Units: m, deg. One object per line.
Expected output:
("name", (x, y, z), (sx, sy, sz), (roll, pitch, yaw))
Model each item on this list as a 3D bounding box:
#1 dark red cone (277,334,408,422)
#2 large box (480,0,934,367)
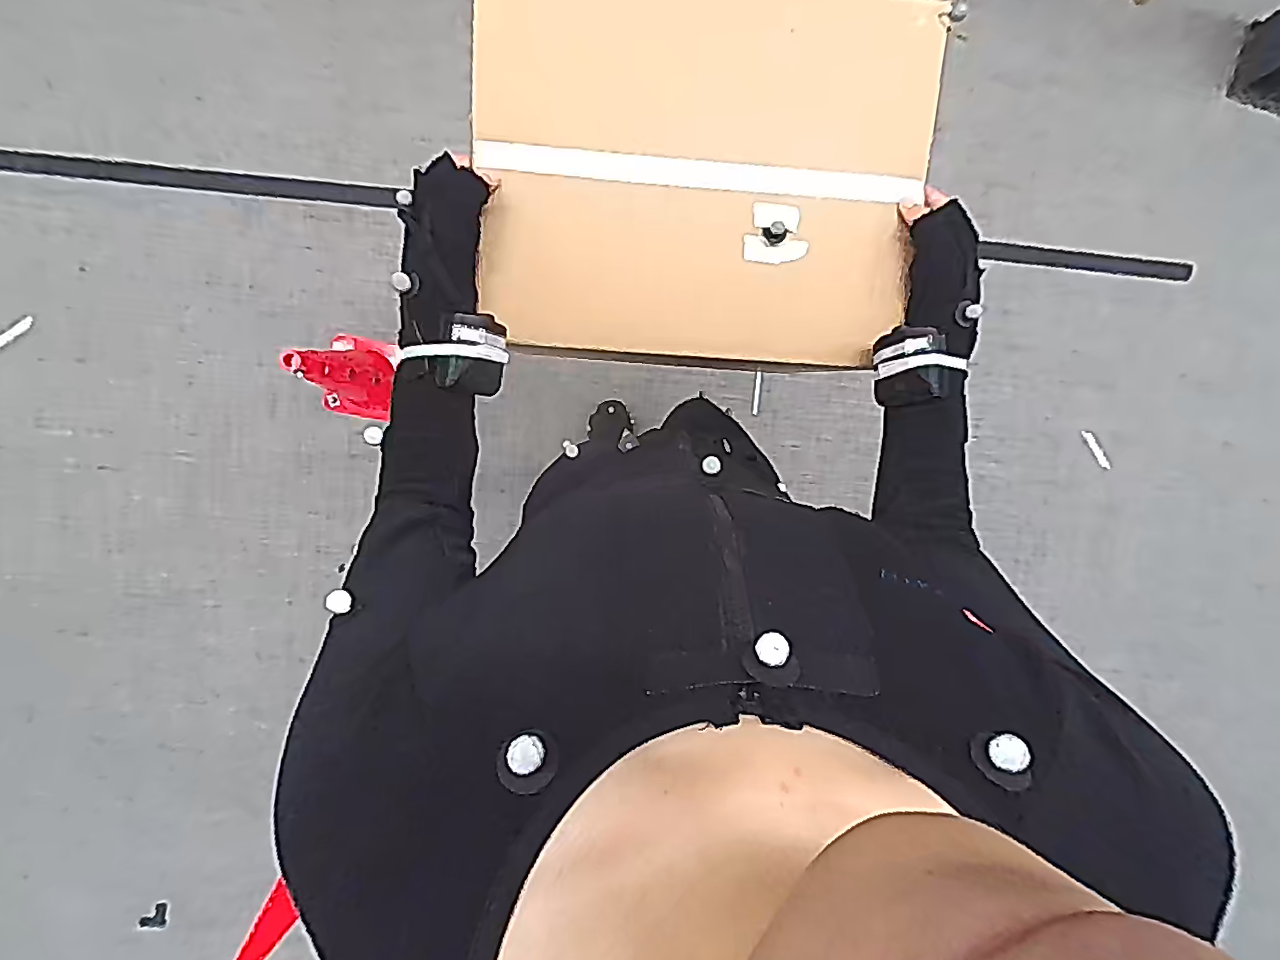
("dark red cone", (-0.682, -0.246, 1.205), (0.201, 0.394, 0.202), (10, 94, -6))
("large box", (0.045, -0.303, 0.633), (0.408, 0.320, 0.320), (3, 101, -5))
